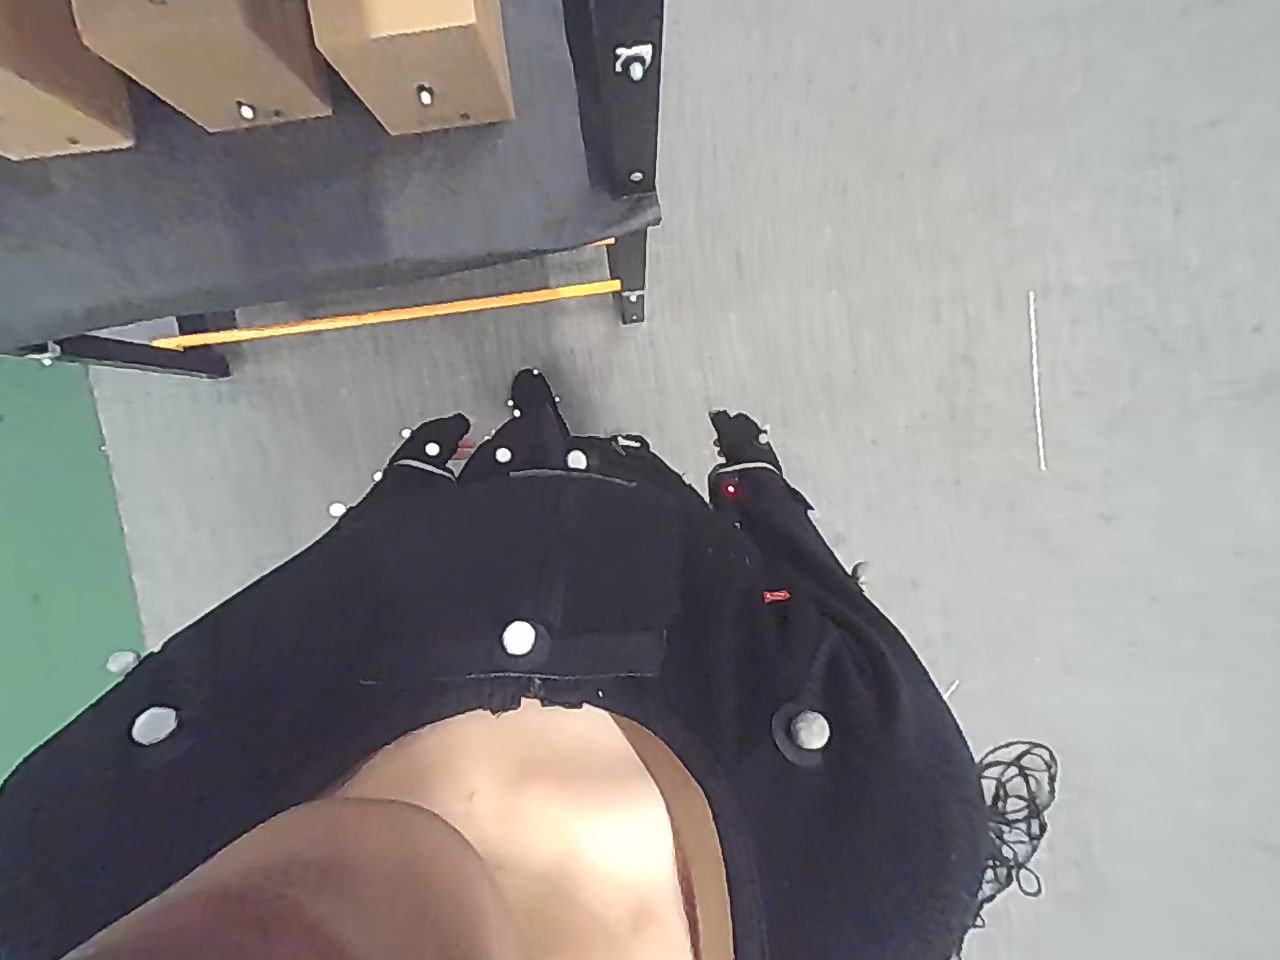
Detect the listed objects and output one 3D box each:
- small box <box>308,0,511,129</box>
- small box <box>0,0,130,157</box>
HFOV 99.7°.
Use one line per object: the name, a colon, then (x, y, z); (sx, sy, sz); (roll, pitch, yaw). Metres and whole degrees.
small box: (-0.255, -0.533, 0.617); (0.168, 0.176, 0.179); (-7, 94, 0)
small box: (-0.745, -0.499, 0.619); (0.168, 0.176, 0.179); (-7, 95, 0)
